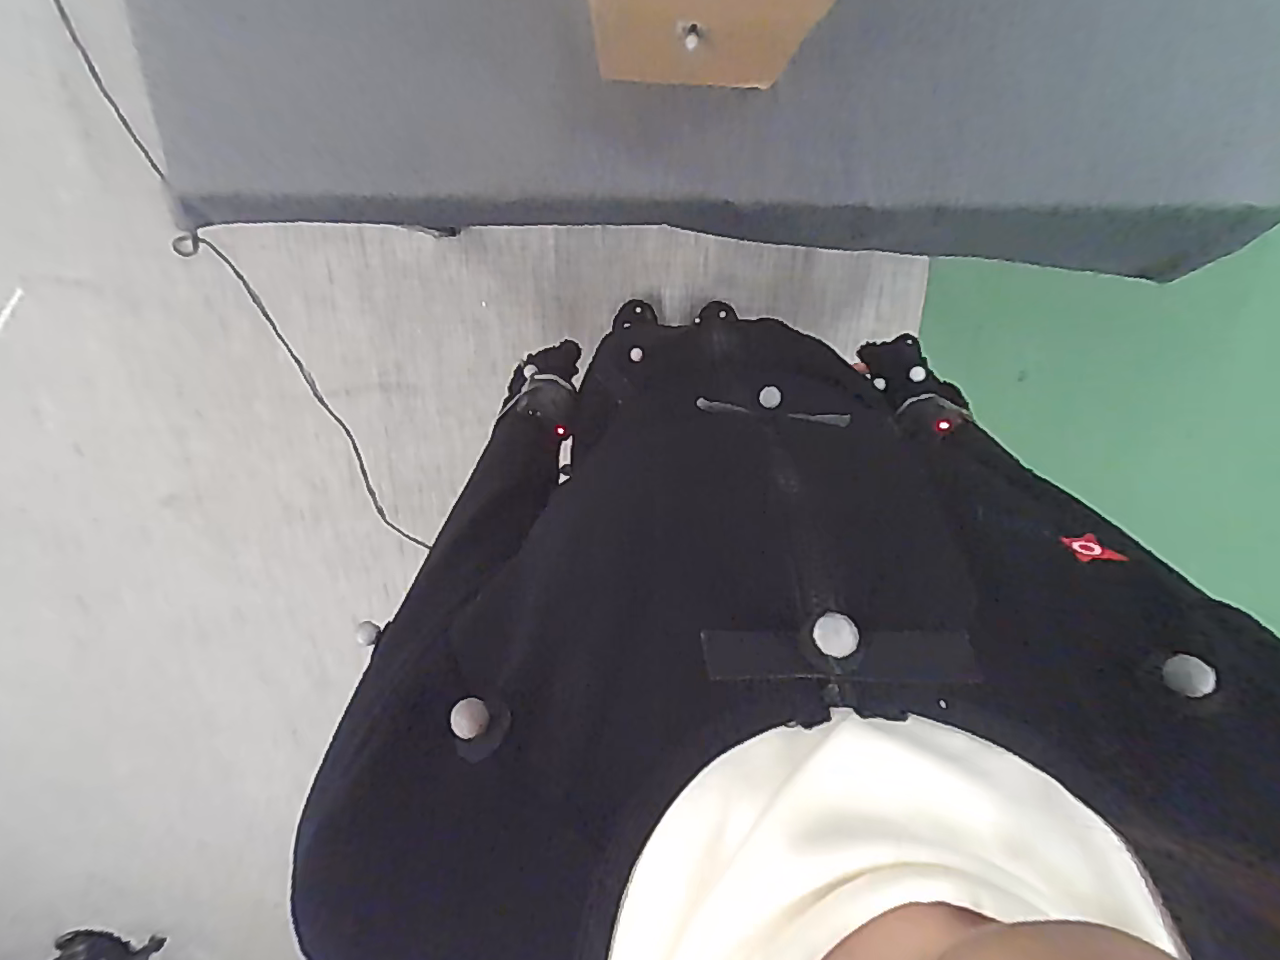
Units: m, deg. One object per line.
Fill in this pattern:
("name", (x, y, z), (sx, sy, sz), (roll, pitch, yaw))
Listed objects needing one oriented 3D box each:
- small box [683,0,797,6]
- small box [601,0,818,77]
("small box", (0.052, -0.398, 0.294), (0.179, 0.176, 0.168), (3, 110, 1))
("small box", (0.055, -0.459, 0.446), (0.179, 0.176, 0.168), (2, 111, 0))
